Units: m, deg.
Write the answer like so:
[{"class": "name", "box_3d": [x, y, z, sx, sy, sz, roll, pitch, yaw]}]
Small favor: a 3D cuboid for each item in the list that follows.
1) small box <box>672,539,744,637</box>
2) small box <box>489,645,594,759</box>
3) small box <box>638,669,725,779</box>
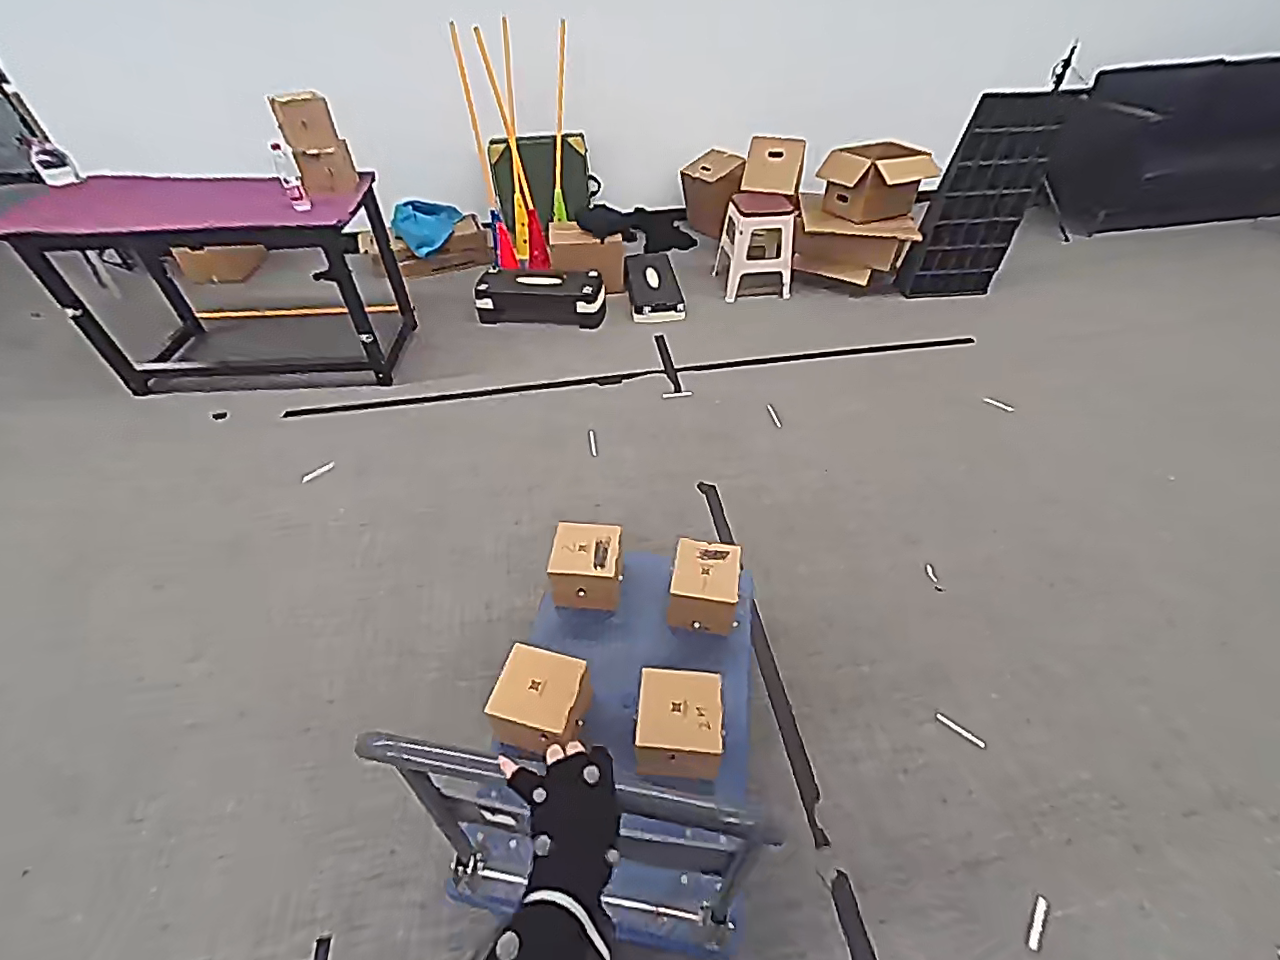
[{"class": "small box", "box_3d": [0.178, 0.285, 1.428, 0.168, 0.176, 0.179, 7, 47, 8]}, {"class": "small box", "box_3d": [-0.212, 0.503, 1.219, 0.179, 0.176, 0.168, 11, 46, 10]}, {"class": "small box", "box_3d": [0.092, 0.534, 1.181, 0.179, 0.176, 0.168, 3, 45, 5]}]
